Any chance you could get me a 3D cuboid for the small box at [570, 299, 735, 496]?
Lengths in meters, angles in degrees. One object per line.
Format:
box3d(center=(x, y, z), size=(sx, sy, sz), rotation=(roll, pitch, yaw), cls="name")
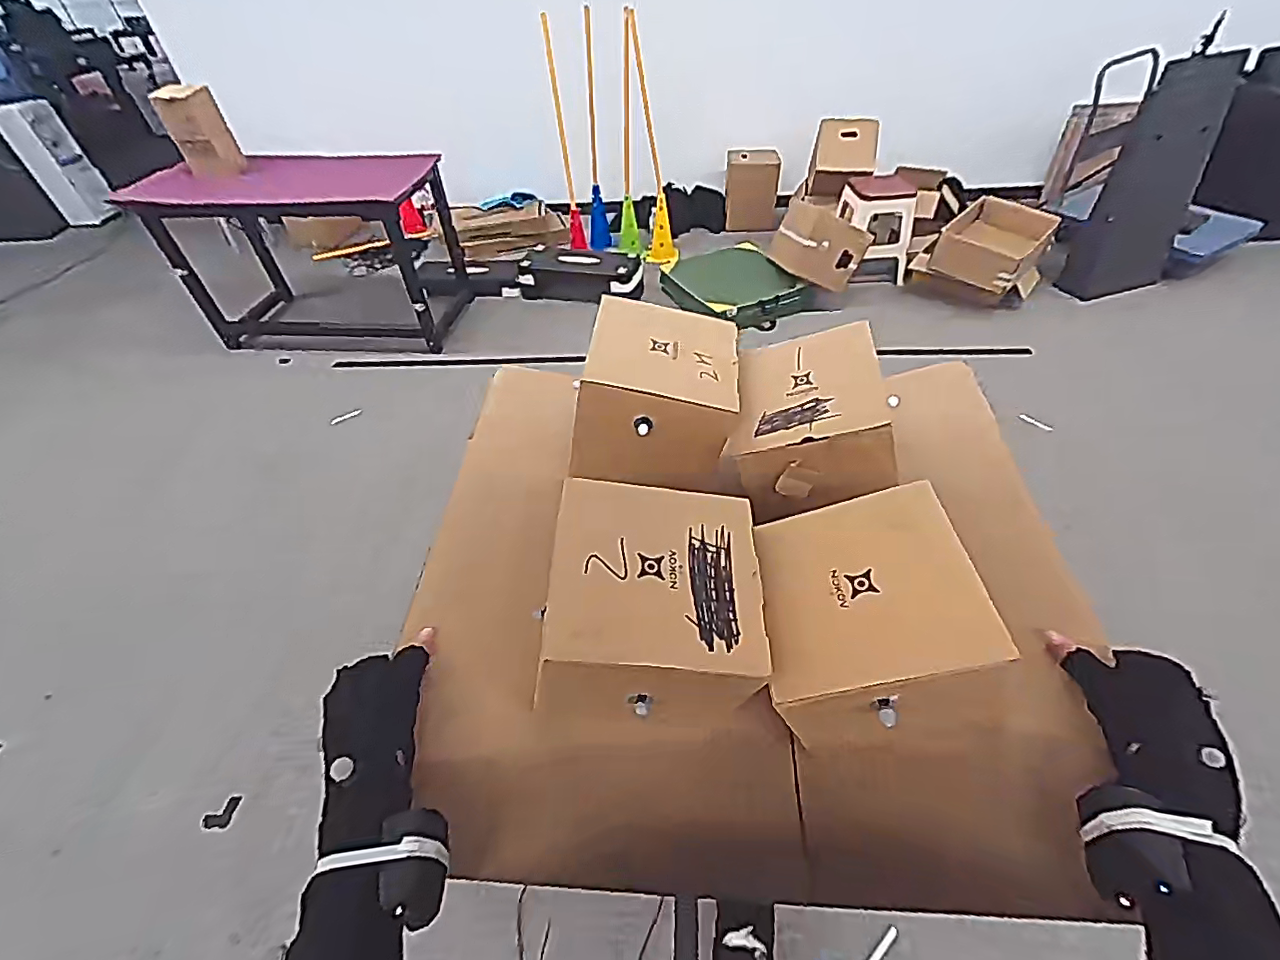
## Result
box3d(center=(0.013, -0.099, 0.691), size=(0.179, 0.176, 0.168), rotation=(12, 51, -4), cls="small box")
